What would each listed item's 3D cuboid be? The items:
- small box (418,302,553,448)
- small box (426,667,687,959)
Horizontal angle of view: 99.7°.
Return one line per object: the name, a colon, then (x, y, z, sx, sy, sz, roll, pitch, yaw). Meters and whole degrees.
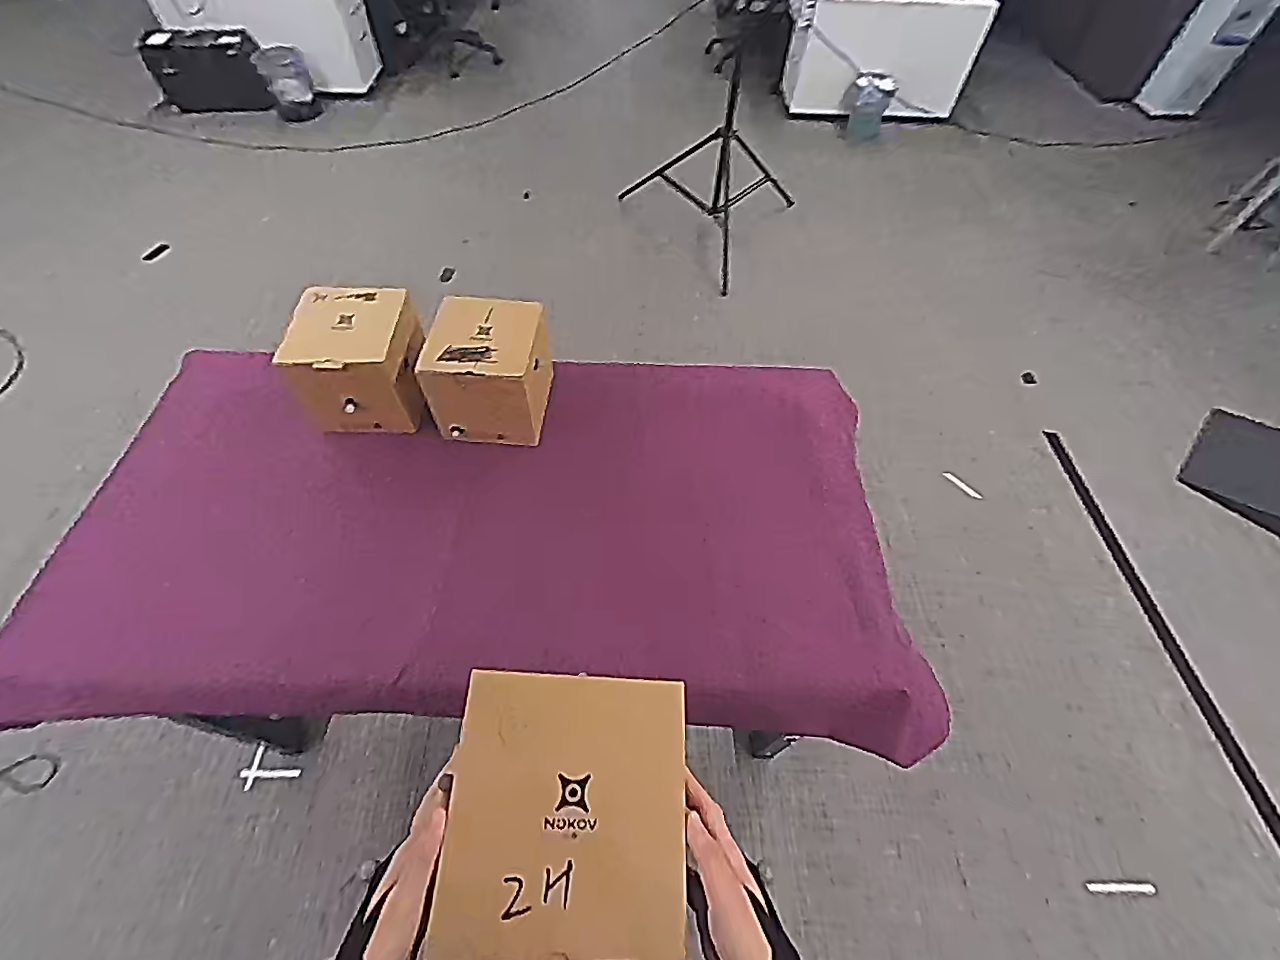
small box: (-0.246, -0.172, 0.913, 0.168, 0.176, 0.179, 5, 55, 0)
small box: (-0.061, 0.265, 0.445, 0.168, 0.176, 0.179, 6, 60, -7)
